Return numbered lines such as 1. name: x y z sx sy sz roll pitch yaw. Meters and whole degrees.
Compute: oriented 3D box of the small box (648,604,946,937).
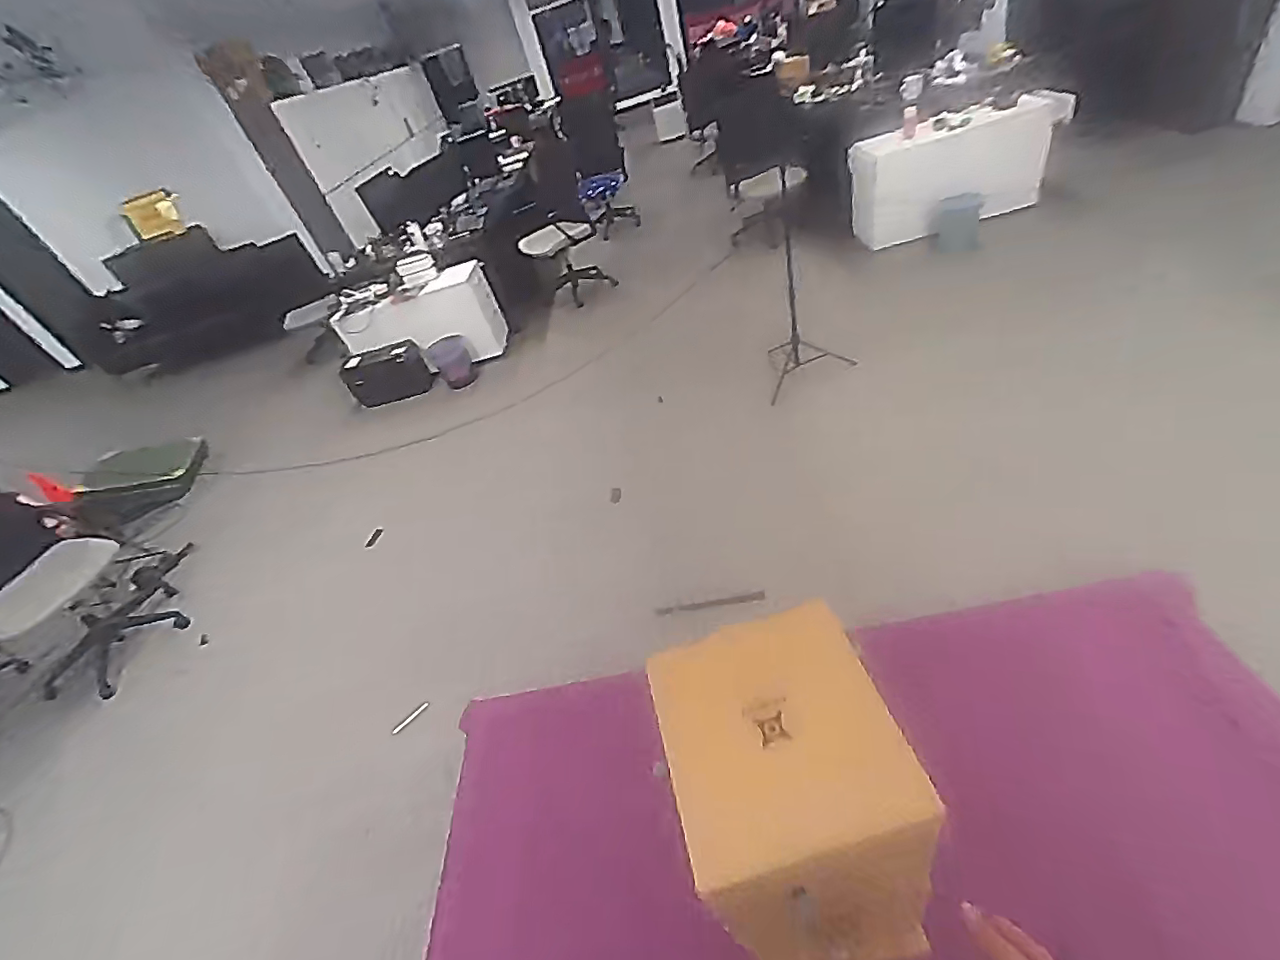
1. small box: 0.121 0.241 0.445 0.168 0.176 0.179 -20 38 1
